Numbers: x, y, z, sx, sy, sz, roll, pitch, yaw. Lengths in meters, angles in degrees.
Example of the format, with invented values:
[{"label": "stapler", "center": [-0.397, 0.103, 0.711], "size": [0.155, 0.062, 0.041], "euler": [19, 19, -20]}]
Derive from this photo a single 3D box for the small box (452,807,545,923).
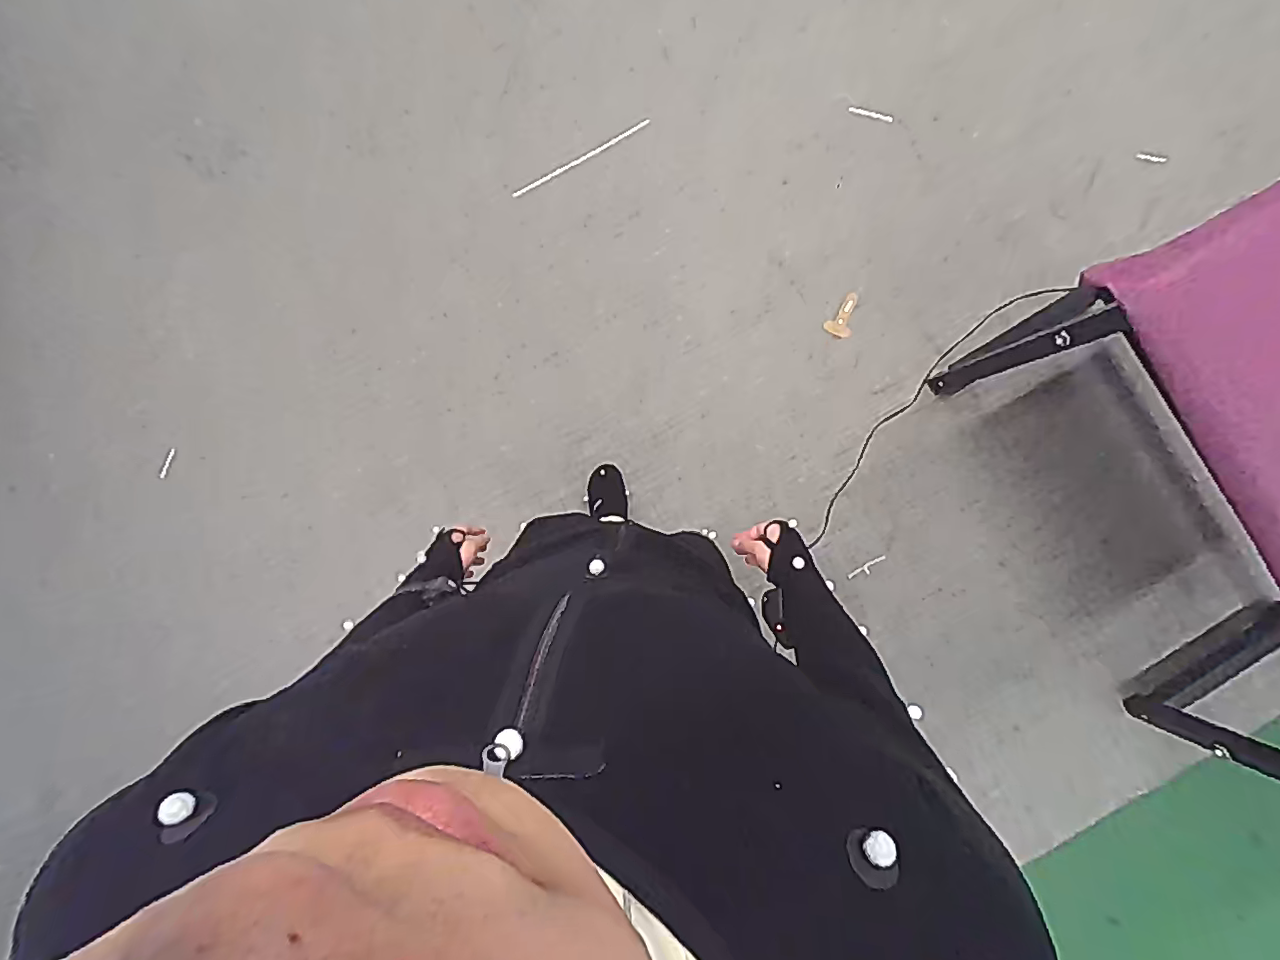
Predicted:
[{"label": "small box", "center": [-0.388, 1.066, 1.511], "size": [0.179, 0.176, 0.168], "euler": [-27, 88, -1]}]
